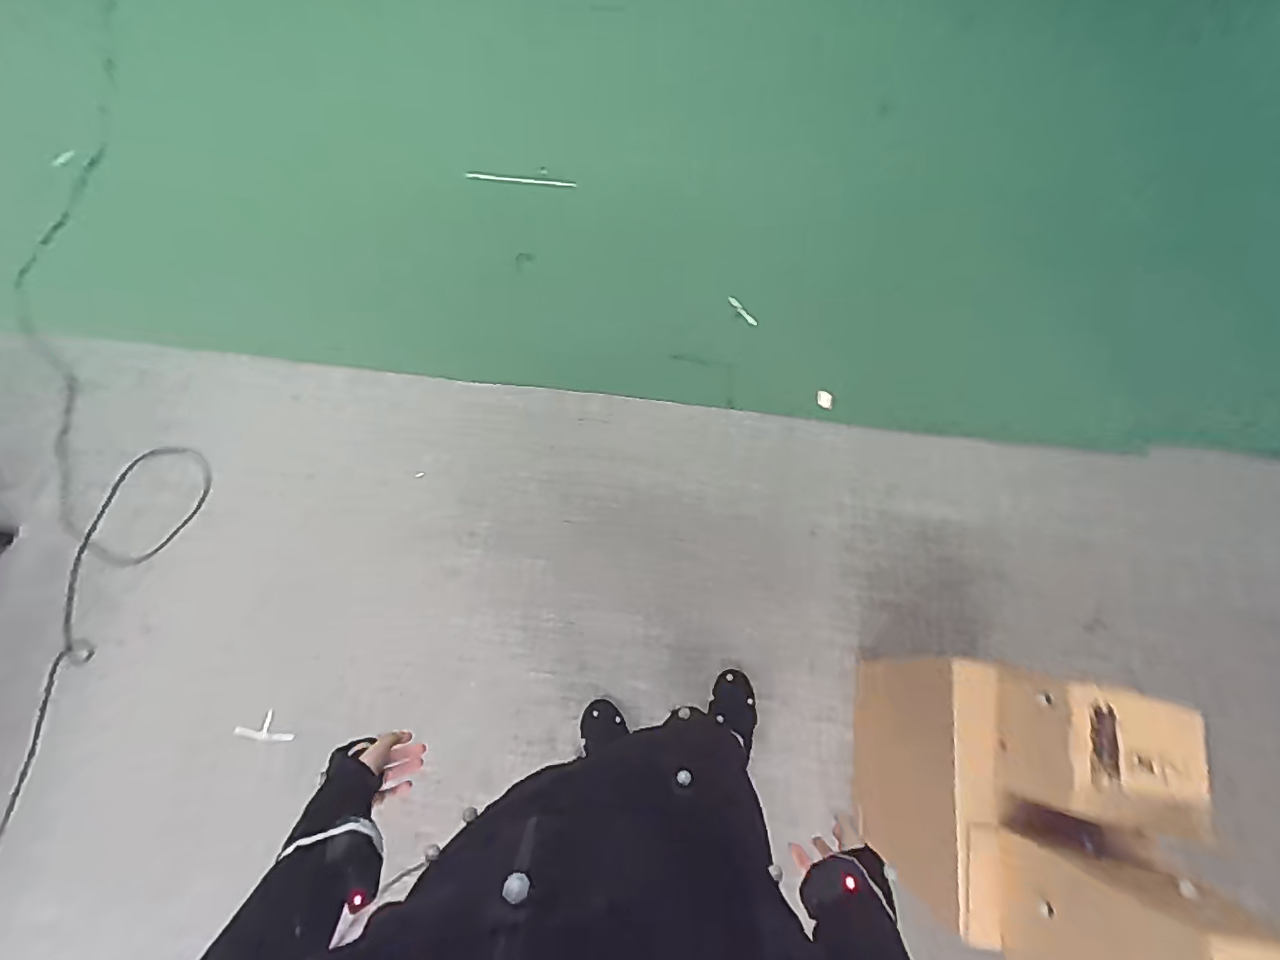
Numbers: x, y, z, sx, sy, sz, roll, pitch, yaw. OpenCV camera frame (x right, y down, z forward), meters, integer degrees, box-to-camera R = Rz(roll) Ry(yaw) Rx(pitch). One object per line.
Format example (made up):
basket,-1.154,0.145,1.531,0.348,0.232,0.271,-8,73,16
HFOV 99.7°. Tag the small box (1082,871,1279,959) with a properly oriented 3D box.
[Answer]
small box,0.612,0.553,0.566,0.168,0.176,0.179,8,71,3
